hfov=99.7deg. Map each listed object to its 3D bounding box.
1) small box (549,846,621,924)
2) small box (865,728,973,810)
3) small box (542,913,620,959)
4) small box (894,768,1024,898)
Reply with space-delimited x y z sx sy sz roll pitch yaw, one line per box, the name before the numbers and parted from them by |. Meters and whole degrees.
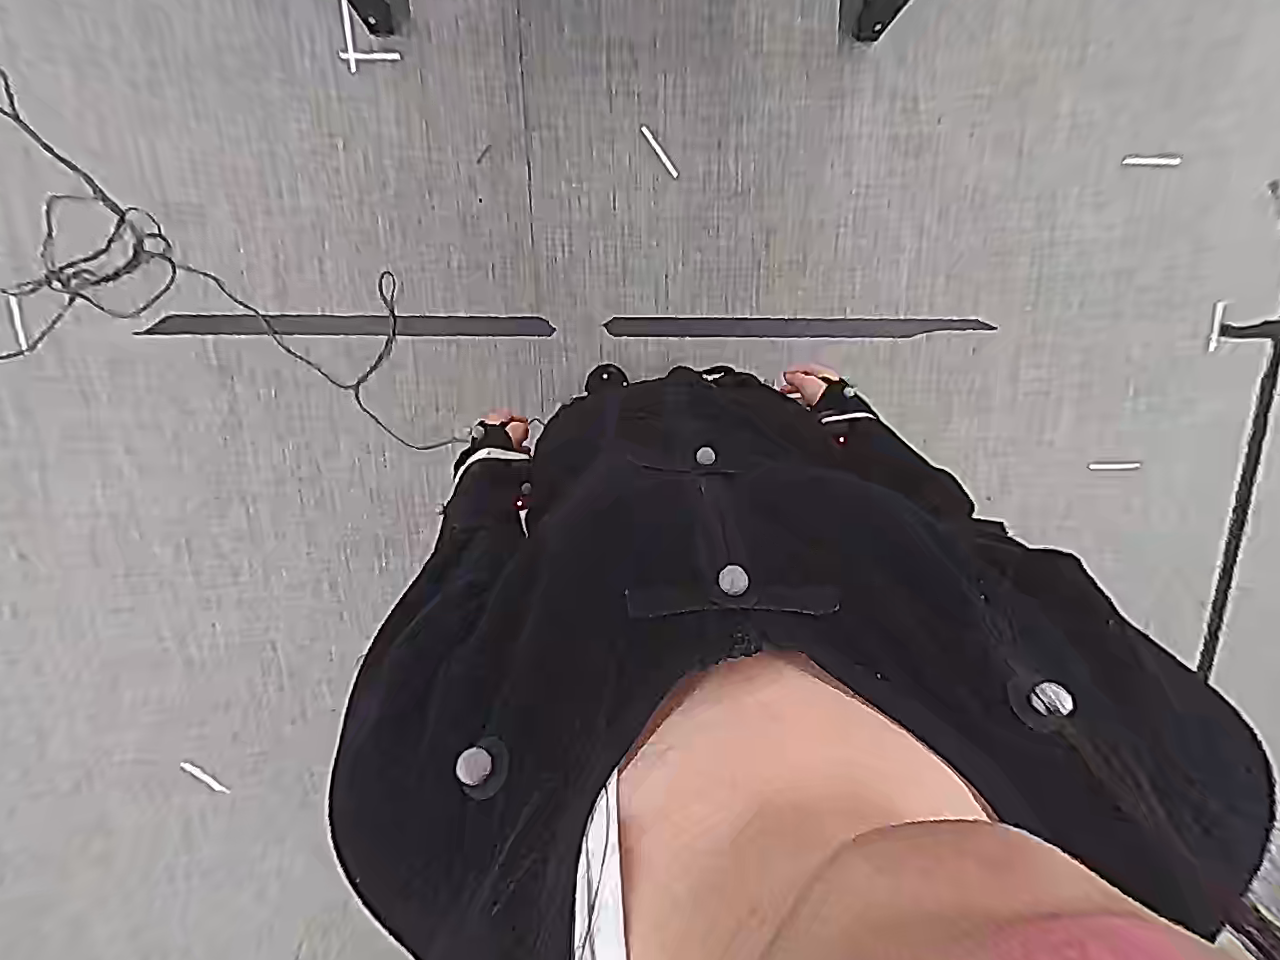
small box | -0.136 1.037 1.326 0.168 0.176 0.179 4 102 -4
small box | 0.746 0.805 1.455 0.179 0.176 0.168 44 98 -11
small box | -0.129 1.081 1.169 0.168 0.176 0.179 1 101 -2
small box | 0.751 0.830 1.295 0.168 0.176 0.179 -43 101 6
